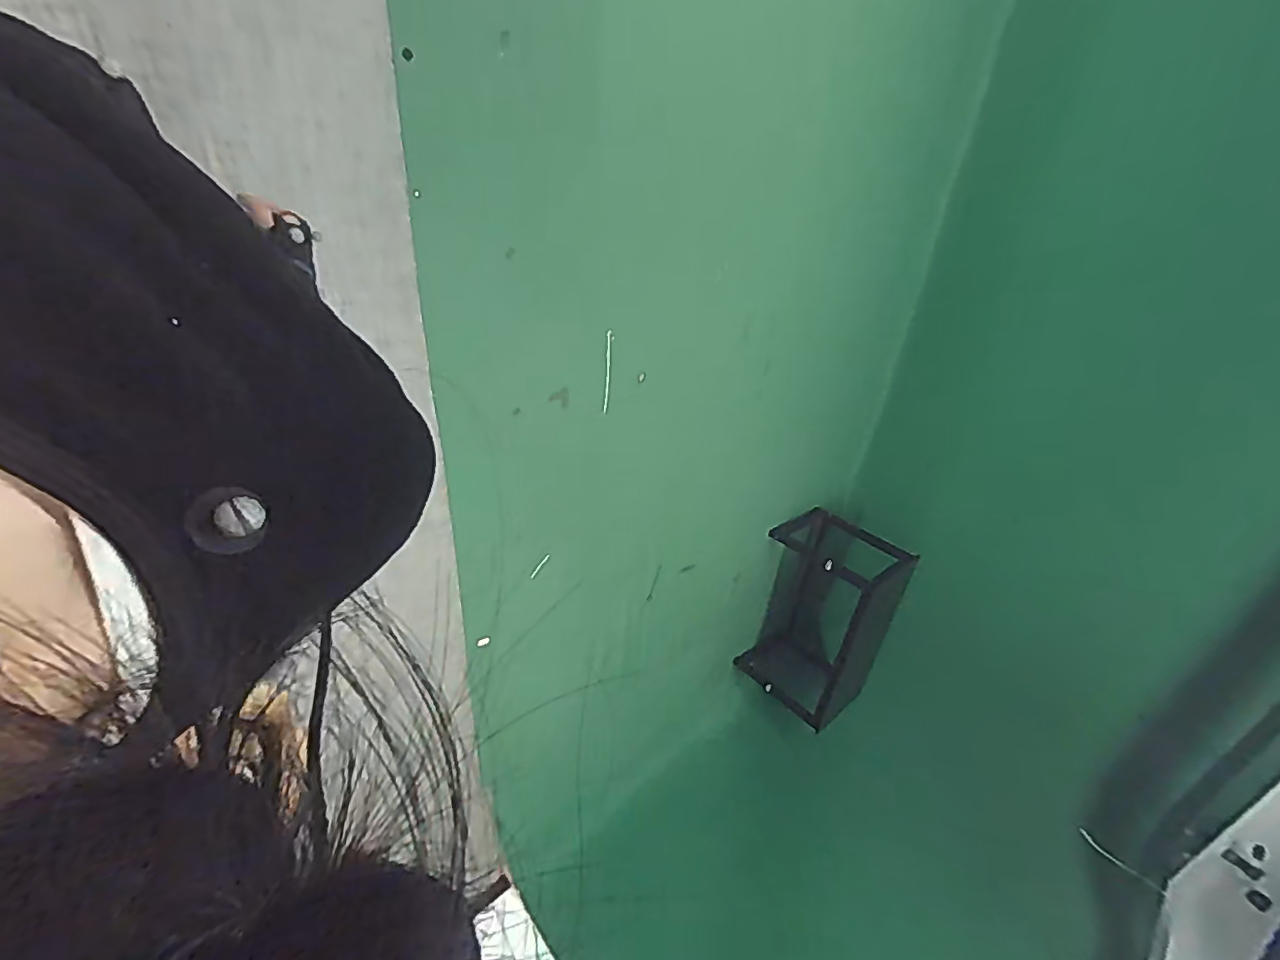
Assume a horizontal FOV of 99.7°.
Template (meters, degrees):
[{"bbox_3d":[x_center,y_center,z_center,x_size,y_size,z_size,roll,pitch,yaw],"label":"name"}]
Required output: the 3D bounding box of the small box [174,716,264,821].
[{"bbox_3d":[-1.191,0.802,1.528,0.168,0.176,0.179,-14,124,-40],"label":"small box"}]
